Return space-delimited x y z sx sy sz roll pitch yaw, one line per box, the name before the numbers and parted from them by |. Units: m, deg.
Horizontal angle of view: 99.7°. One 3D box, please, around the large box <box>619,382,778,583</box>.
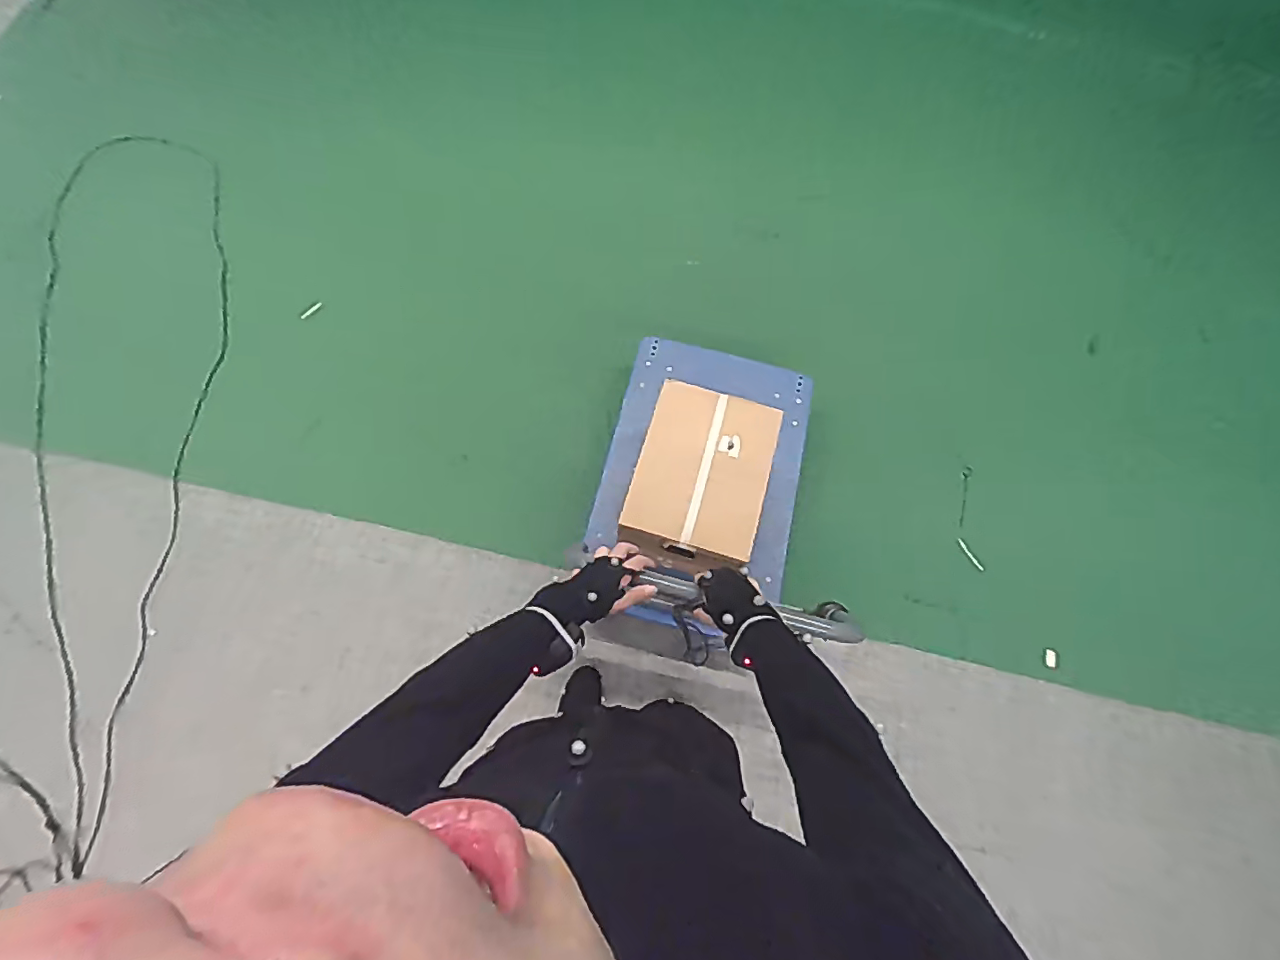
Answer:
large box | 0.142 0.021 1.439 0.320 0.320 0.408 17 70 2
